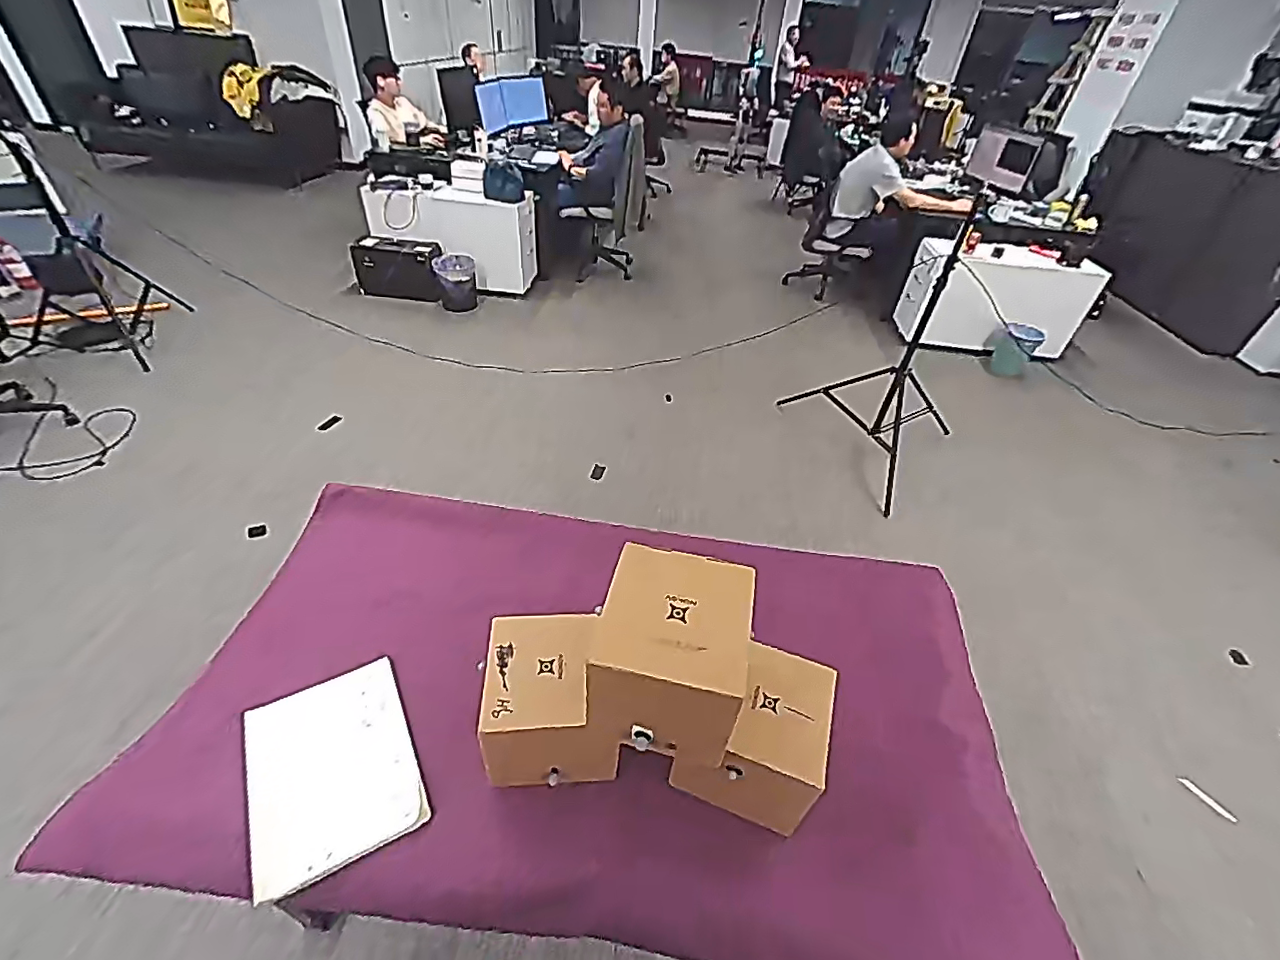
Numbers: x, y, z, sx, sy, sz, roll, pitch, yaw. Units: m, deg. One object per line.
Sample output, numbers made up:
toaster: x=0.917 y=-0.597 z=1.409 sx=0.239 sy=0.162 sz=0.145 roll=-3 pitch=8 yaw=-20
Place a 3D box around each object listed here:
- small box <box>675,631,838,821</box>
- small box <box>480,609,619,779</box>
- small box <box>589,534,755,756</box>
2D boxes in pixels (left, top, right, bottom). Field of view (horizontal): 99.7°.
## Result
small box: x=0.156 y=0.335 z=0.752 sx=0.179 sy=0.176 sz=0.168 roll=17 pitch=41 yaw=14
small box: x=-0.119 y=0.301 z=0.764 sx=0.179 sy=0.176 sz=0.168 roll=0 pitch=39 yaw=-7
small box: x=0.039 y=0.196 z=0.653 sx=0.168 sy=0.176 sz=0.179 roll=9 pitch=40 yaw=7
